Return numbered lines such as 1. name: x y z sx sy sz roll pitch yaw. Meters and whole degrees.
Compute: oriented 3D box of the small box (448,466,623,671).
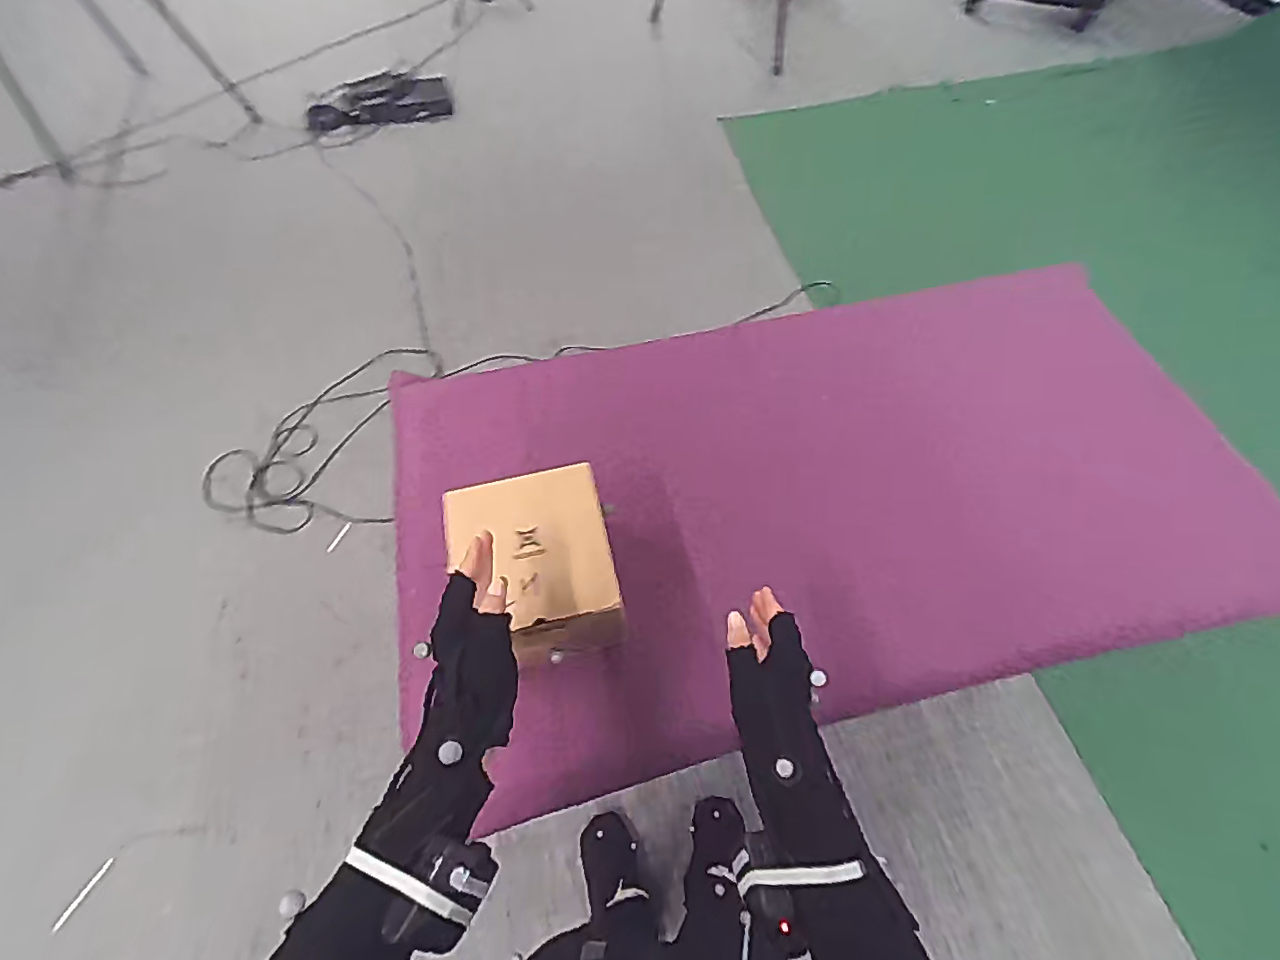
1. small box: -0.119 0.111 0.649 0.168 0.176 0.179 -13 62 -6
